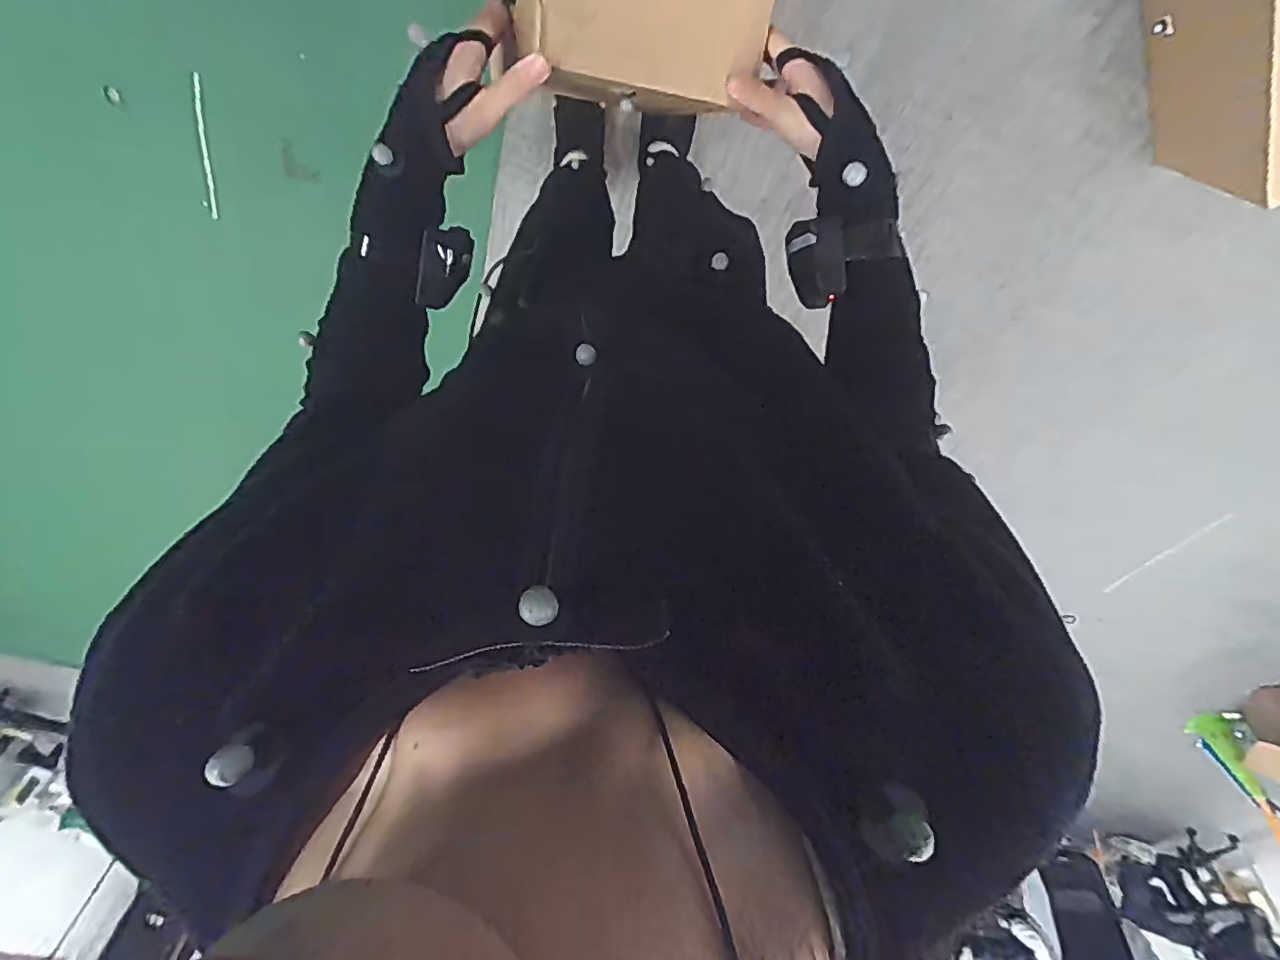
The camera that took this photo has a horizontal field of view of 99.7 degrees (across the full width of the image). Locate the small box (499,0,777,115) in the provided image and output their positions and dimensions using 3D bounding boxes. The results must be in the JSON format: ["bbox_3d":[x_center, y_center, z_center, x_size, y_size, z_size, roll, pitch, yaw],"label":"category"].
[{"bbox_3d":[-0.008,-0.391,0.414,0.179,0.176,0.168,-5,123,-23],"label":"small box"}]
